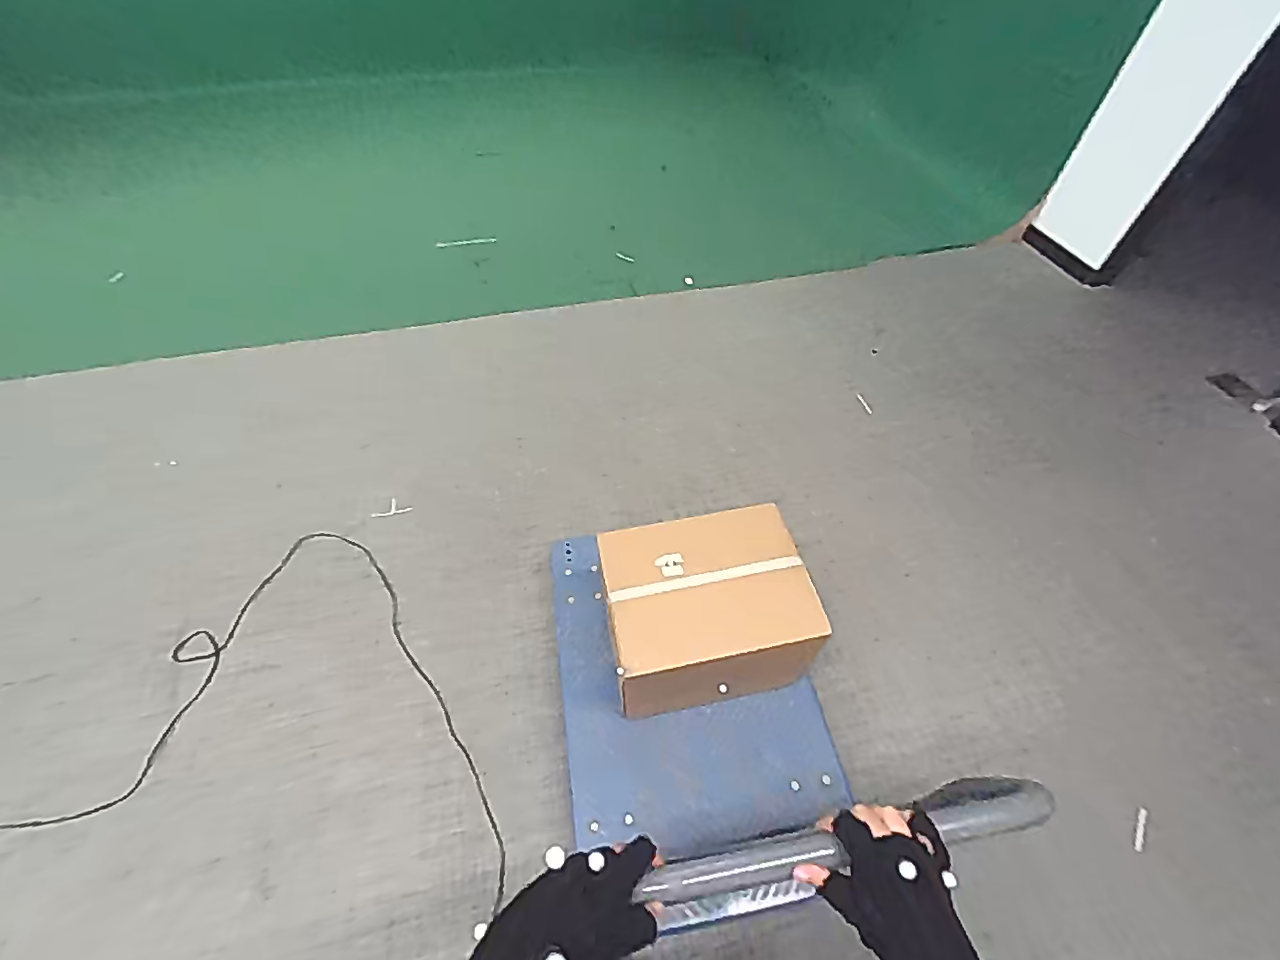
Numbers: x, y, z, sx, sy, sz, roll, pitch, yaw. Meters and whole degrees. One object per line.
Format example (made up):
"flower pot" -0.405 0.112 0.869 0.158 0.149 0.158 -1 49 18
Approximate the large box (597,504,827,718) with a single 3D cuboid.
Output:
"large box" 0.137 0.297 1.205 0.408 0.320 0.320 -10 52 -6
